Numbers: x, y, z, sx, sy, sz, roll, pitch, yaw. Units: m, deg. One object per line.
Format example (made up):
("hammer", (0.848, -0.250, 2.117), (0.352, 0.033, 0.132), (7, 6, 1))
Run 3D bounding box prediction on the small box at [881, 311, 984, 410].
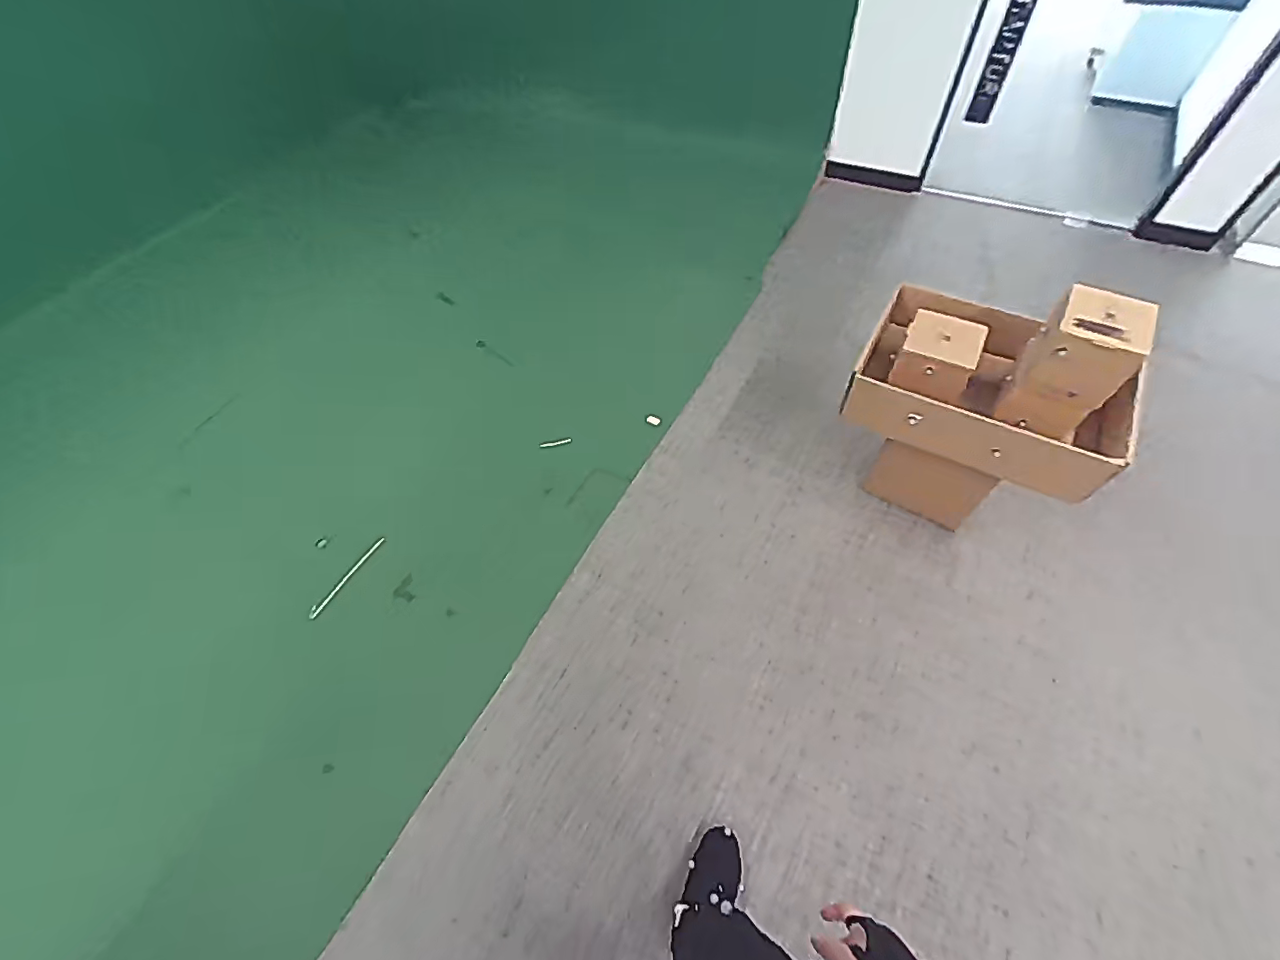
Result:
("small box", (0.768, -0.313, 1.436), (0.179, 0.176, 0.168), (24, 63, 17))
